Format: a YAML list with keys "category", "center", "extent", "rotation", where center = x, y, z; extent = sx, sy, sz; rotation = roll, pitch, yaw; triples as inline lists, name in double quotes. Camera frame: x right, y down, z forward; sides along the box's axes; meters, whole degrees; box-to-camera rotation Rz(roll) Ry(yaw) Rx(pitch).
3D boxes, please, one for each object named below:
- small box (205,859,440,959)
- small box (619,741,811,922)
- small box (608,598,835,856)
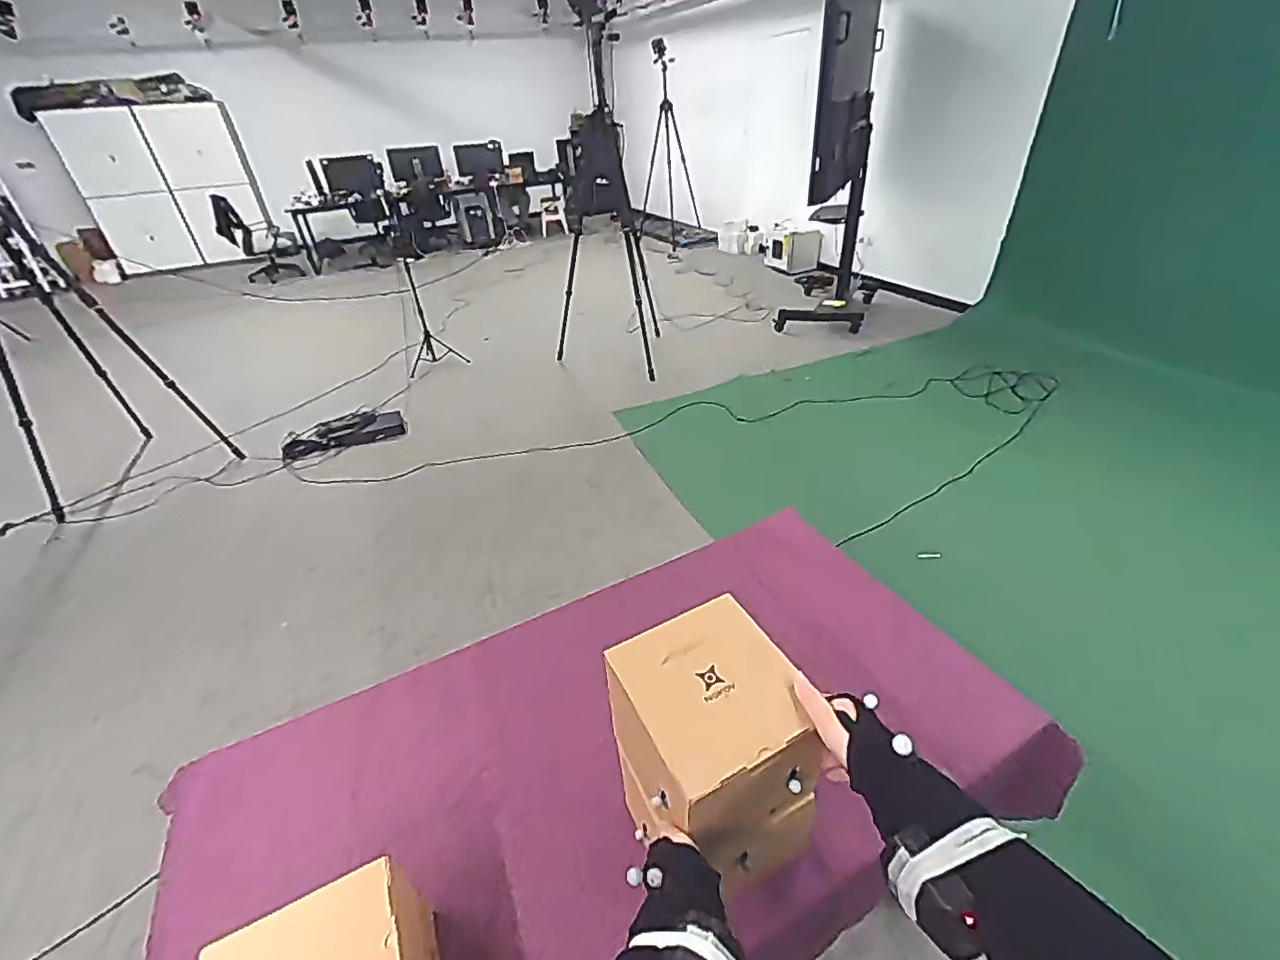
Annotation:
- category: "small box"
  center: [-0.305, 0.540, 0.540]
  extent: [0.179, 0.176, 0.168]
  rotation: [-18, 37, -21]
- category: "small box"
  center: [0.089, 0.406, 0.684]
  extent: [0.179, 0.176, 0.168]
  rotation: [-18, 39, -19]
- category: "small box"
  center: [0.079, 0.270, 0.590]
  extent: [0.168, 0.176, 0.179]
  rotation: [-19, 40, -21]
